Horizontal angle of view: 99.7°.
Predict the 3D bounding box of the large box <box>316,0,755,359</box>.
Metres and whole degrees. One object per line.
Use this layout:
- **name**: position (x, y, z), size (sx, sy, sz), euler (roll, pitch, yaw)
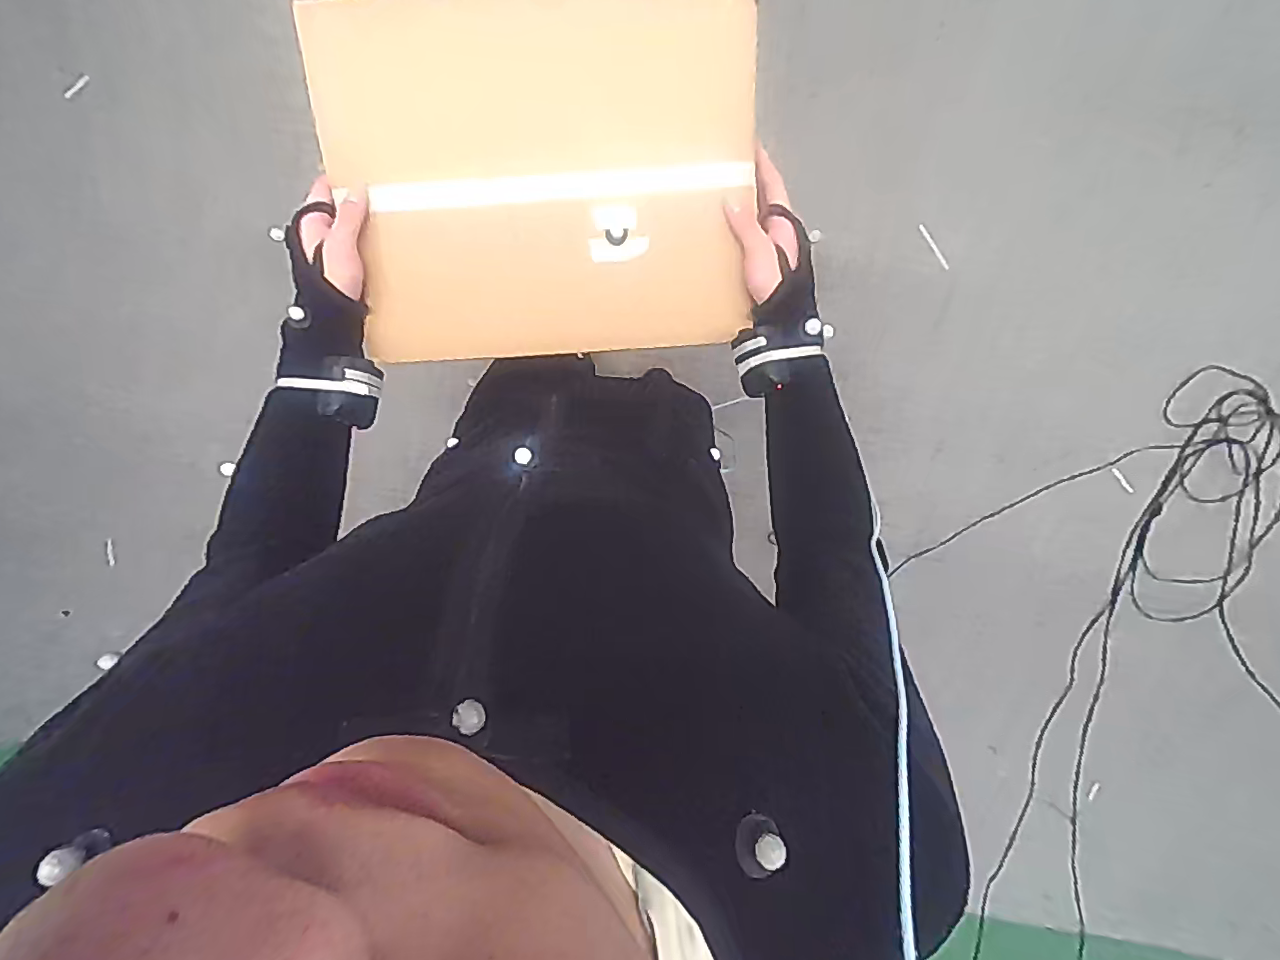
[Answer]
- **large box**: position (-0.091, -0.335, 0.672), size (0.408, 0.320, 0.320), euler (-4, 109, -1)
